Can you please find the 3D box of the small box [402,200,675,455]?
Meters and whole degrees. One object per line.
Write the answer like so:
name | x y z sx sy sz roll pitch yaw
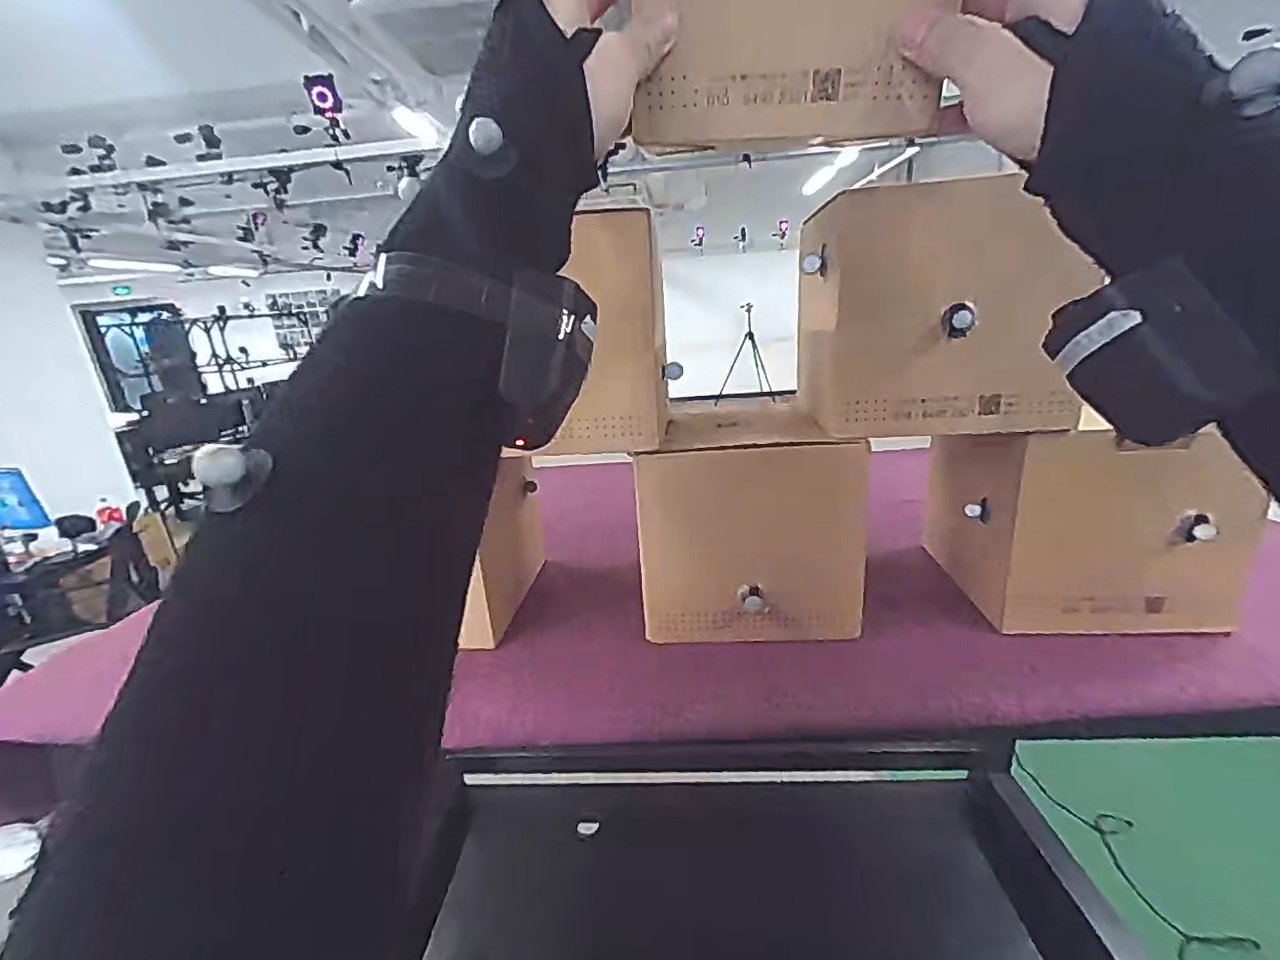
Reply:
small box | -0.065 -0.119 0.455 0.179 0.176 0.168 -1 17 6

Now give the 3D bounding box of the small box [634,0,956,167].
small box | 0.084 -0.298 0.332 0.168 0.176 0.179 0 28 5

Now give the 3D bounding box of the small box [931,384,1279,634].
small box | 0.370 0.017 0.466 0.168 0.176 0.179 -2 17 9

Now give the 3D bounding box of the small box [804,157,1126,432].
small box | 0.228 -0.134 0.433 0.168 0.176 0.179 -1 17 9
